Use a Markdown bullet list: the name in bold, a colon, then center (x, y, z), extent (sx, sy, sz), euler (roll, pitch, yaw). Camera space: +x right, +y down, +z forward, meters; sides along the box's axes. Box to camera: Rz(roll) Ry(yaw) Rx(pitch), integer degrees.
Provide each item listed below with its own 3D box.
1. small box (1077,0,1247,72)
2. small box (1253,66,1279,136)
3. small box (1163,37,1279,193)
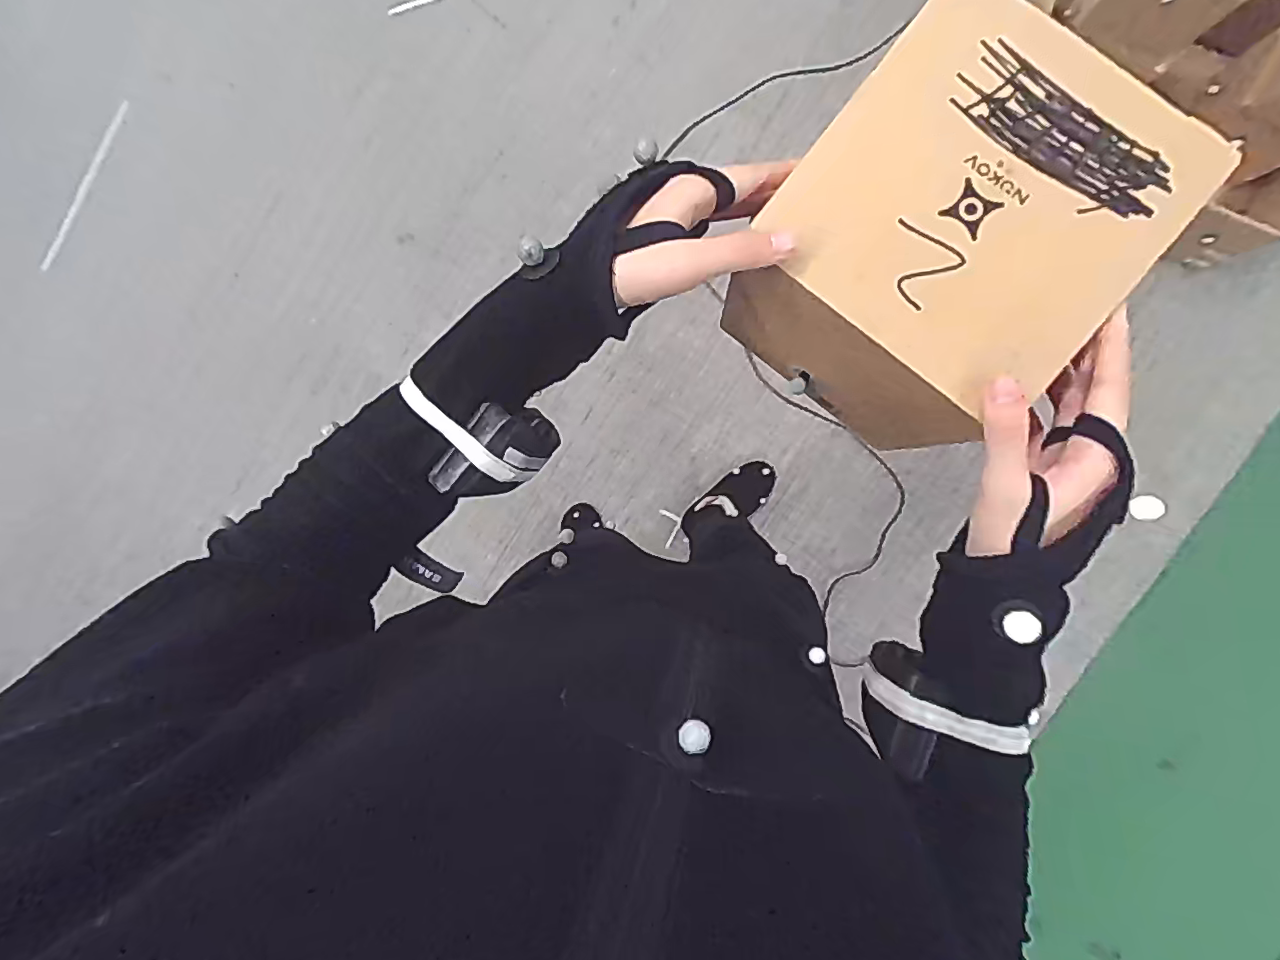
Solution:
- **small box**: center (0.919, -0.858, 0.927), extent (0.179, 0.176, 0.168), euler (30, 97, 0)
- **small box**: center (1.228, -0.693, 0.916), extent (0.168, 0.176, 0.179), euler (30, 95, 0)
- **small box**: center (1.227, -0.715, 1.080), extent (0.179, 0.176, 0.168), euler (30, 96, 2)
